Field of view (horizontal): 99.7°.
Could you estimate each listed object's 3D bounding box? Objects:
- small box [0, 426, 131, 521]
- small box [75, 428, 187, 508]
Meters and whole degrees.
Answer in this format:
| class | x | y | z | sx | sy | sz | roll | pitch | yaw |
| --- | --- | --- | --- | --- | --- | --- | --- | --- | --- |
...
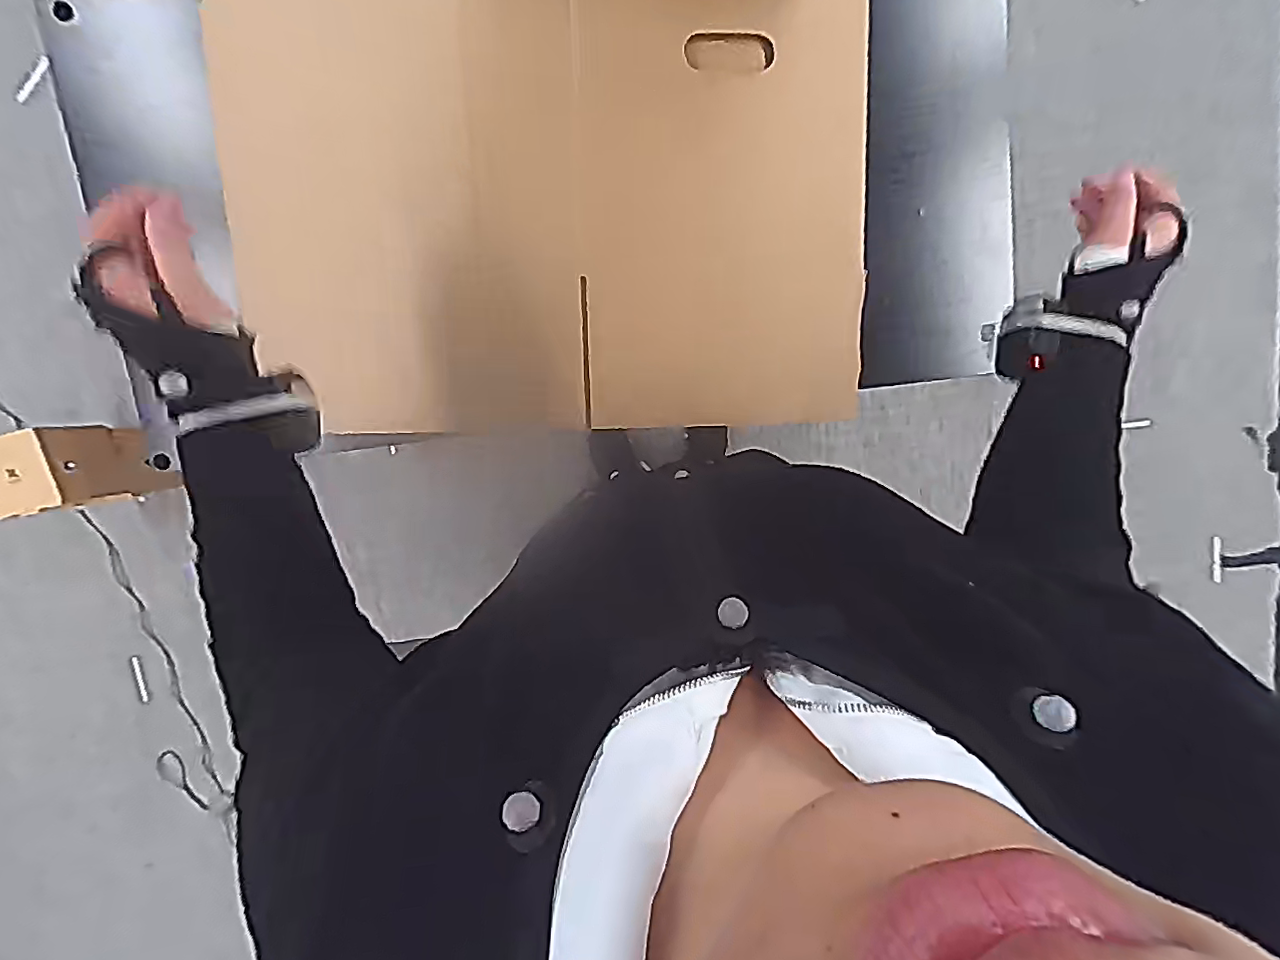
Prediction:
| class | x | y | z | sx | sy | sz | roll | pitch | yaw |
| --- | --- | --- | --- | --- | --- | --- | --- | --- | --- |
| small box | -1.351 | -0.021 | 1.253 | 0.168 | 0.176 | 0.179 | -14 | 97 | 1 |
| small box | -1.349 | -0.038 | 1.415 | 0.168 | 0.176 | 0.179 | -11 | 99 | 2 |
